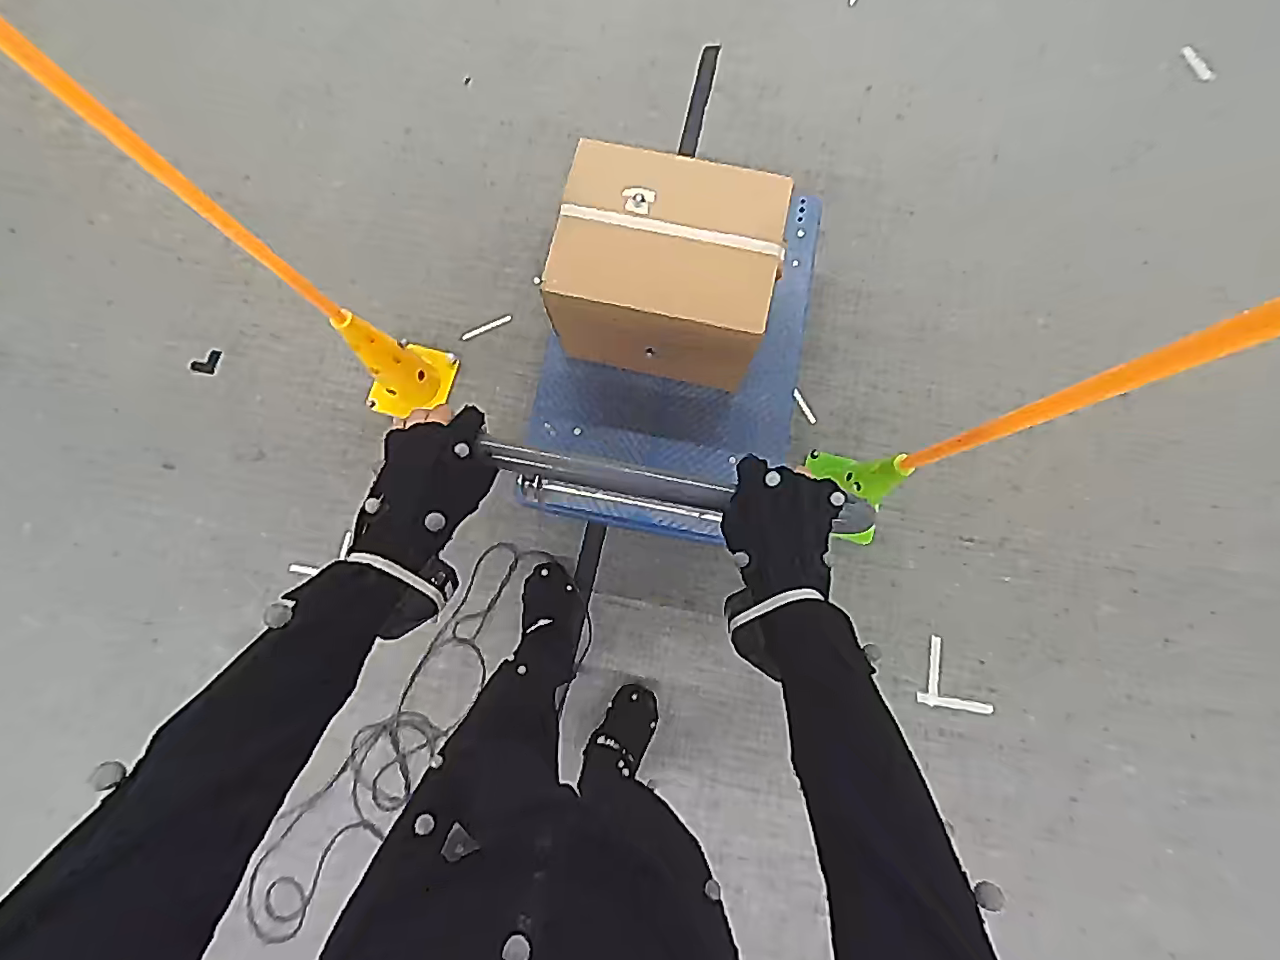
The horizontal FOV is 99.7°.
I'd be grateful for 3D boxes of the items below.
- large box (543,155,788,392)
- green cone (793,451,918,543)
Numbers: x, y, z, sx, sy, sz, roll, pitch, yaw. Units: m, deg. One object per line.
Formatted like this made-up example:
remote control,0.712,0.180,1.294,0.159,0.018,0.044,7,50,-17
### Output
large box,0.056,-0.405,1.130,0.408,0.320,0.320,13,81,4
green cone,0.498,0.010,1.188,0.202,0.368,0.200,16,80,3
